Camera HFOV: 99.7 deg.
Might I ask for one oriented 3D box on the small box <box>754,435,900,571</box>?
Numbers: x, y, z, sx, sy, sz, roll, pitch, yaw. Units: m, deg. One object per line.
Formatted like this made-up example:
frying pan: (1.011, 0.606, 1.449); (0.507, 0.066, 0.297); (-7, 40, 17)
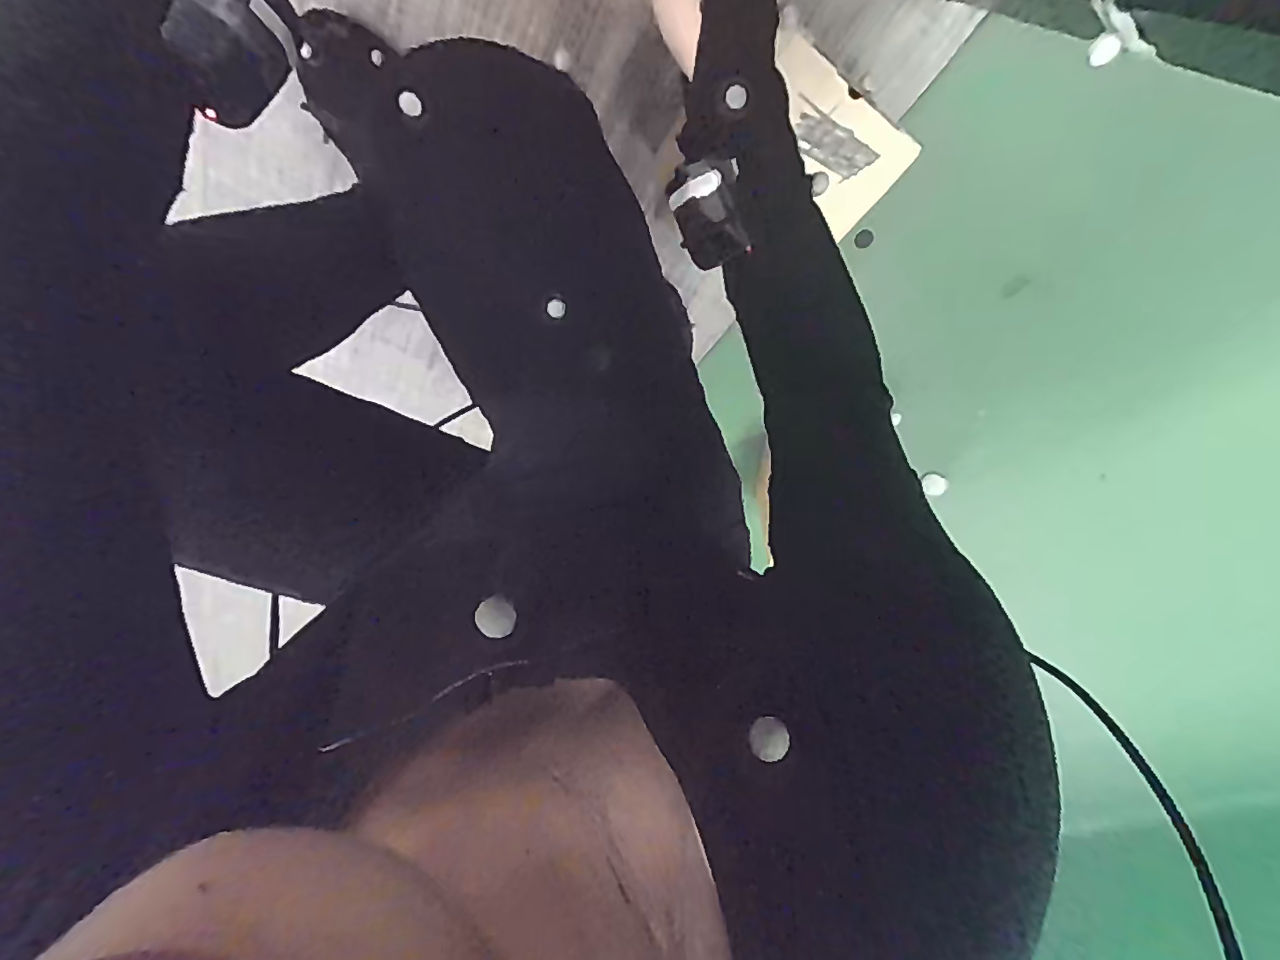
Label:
small box: (0.299, 0.037, 0.908); (0.179, 0.176, 0.168); (0, 137, 1)
